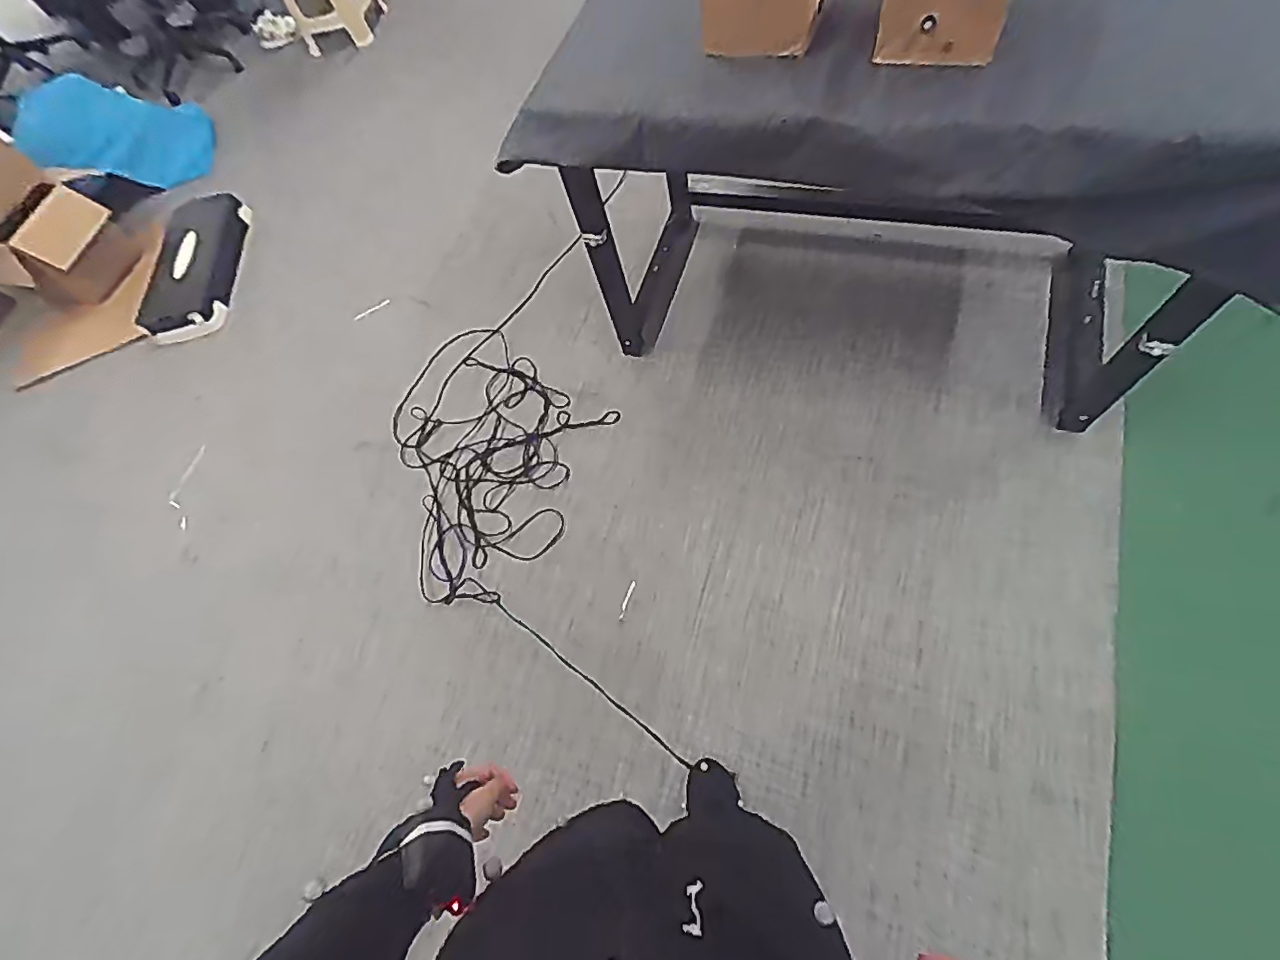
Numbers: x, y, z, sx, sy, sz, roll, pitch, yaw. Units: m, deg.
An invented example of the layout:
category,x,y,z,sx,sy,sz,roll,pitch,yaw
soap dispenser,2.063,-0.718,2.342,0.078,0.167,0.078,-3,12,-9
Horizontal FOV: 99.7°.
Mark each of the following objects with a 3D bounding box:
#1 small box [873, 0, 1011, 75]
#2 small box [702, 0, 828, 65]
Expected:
category,x,y,z,sx,sy,sz,roll,pitch,yaw
small box,0.450,-0.729,0.778,0.168,0.176,0.179,15,70,17
small box,0.202,-0.800,0.860,0.179,0.176,0.168,17,71,17
